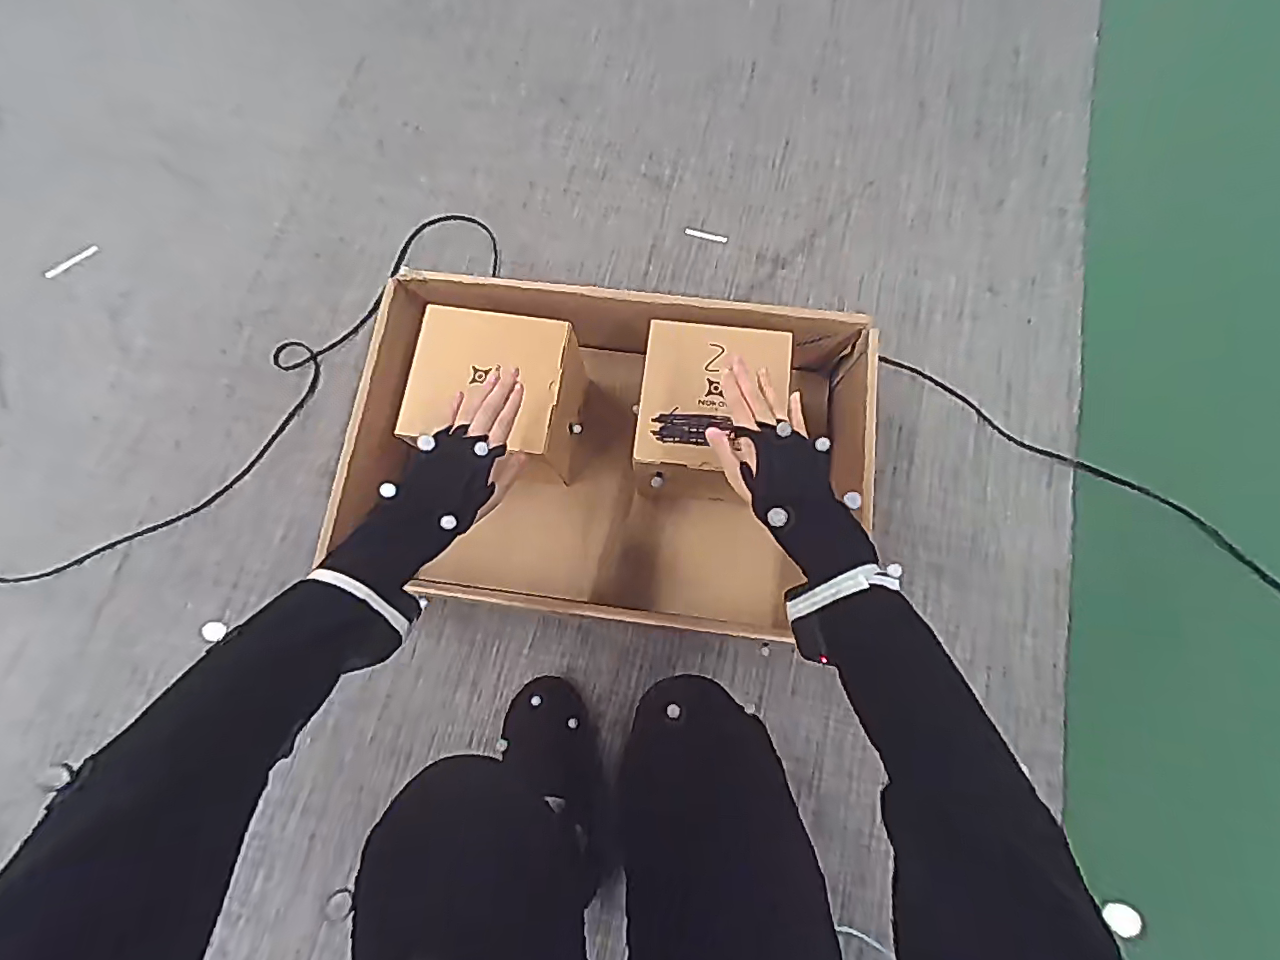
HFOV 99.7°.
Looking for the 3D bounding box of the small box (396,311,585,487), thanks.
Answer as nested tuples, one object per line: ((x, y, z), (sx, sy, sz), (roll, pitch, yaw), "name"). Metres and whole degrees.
((-0.177, -0.094, 0.701), (0.179, 0.176, 0.168), (8, 77, 2), "small box")
